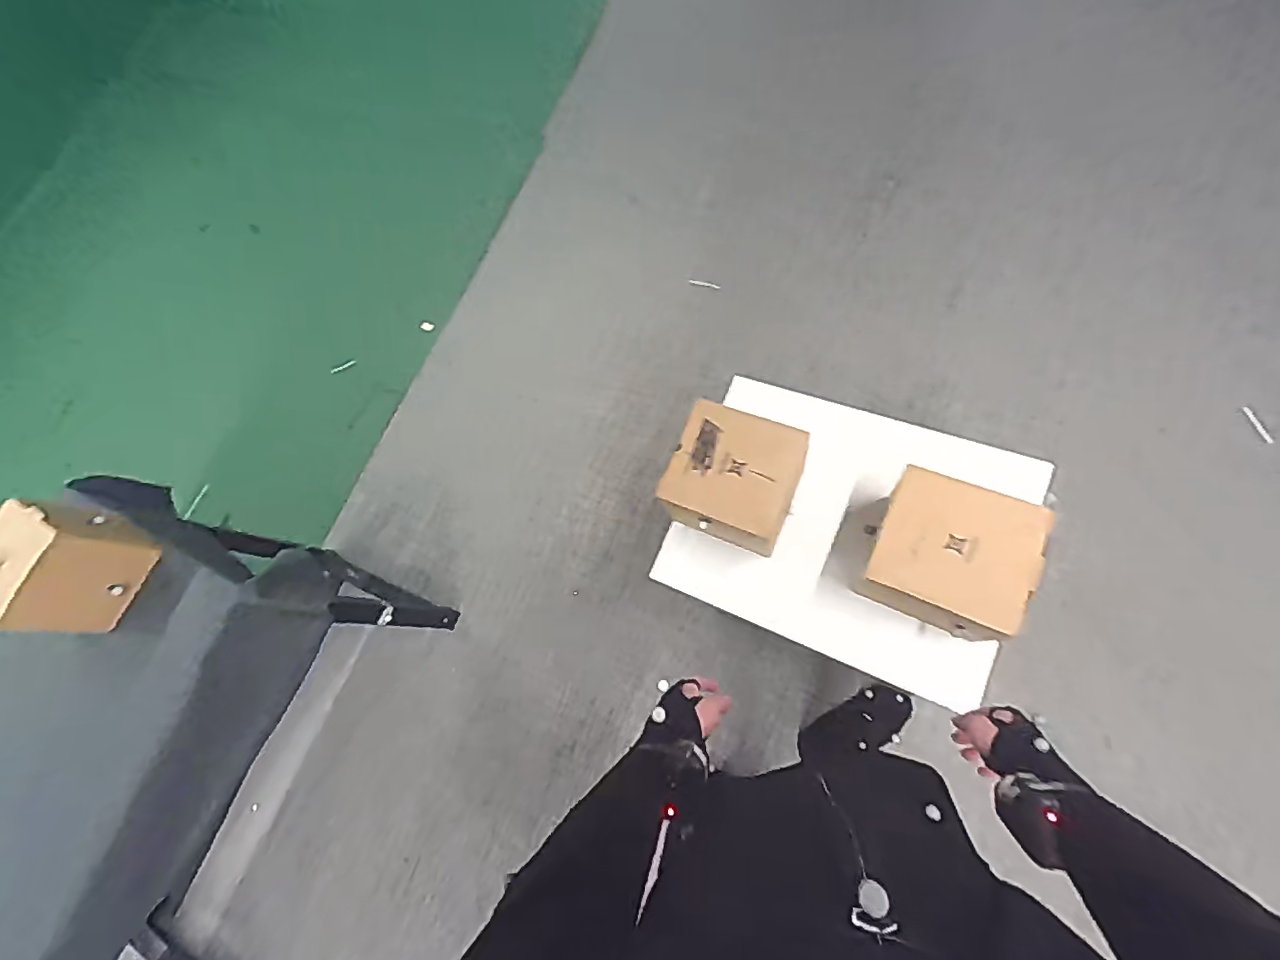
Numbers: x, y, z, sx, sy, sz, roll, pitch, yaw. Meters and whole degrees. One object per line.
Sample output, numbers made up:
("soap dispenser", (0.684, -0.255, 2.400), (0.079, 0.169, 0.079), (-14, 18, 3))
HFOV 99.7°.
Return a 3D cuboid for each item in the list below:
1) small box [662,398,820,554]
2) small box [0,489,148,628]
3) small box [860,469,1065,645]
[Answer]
("small box", (0.156, 0.003, 0.831), (0.179, 0.176, 0.168), (22, 80, 18))
("small box", (-1.034, 0.144, 0.955), (0.168, 0.176, 0.179), (24, 80, 20))
("small box", (0.419, 0.110, 0.733), (0.179, 0.176, 0.168), (21, 78, 21))
